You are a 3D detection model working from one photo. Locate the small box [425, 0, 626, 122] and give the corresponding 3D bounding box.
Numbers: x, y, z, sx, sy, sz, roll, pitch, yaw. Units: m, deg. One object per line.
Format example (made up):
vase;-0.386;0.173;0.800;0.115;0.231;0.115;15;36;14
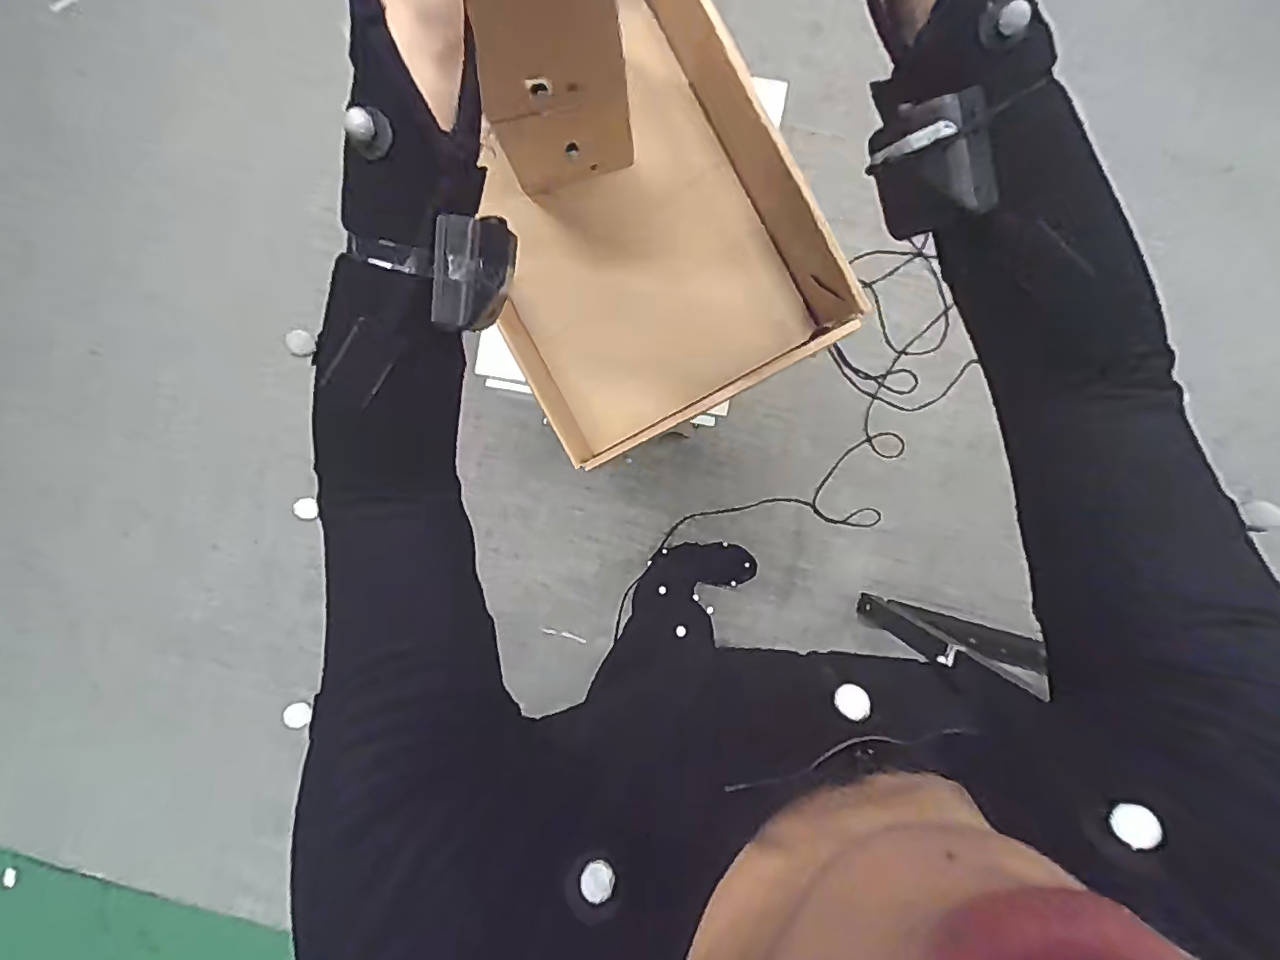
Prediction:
small box;-0.115;-0.505;0.532;0.168;0.176;0.179;-12;92;5
